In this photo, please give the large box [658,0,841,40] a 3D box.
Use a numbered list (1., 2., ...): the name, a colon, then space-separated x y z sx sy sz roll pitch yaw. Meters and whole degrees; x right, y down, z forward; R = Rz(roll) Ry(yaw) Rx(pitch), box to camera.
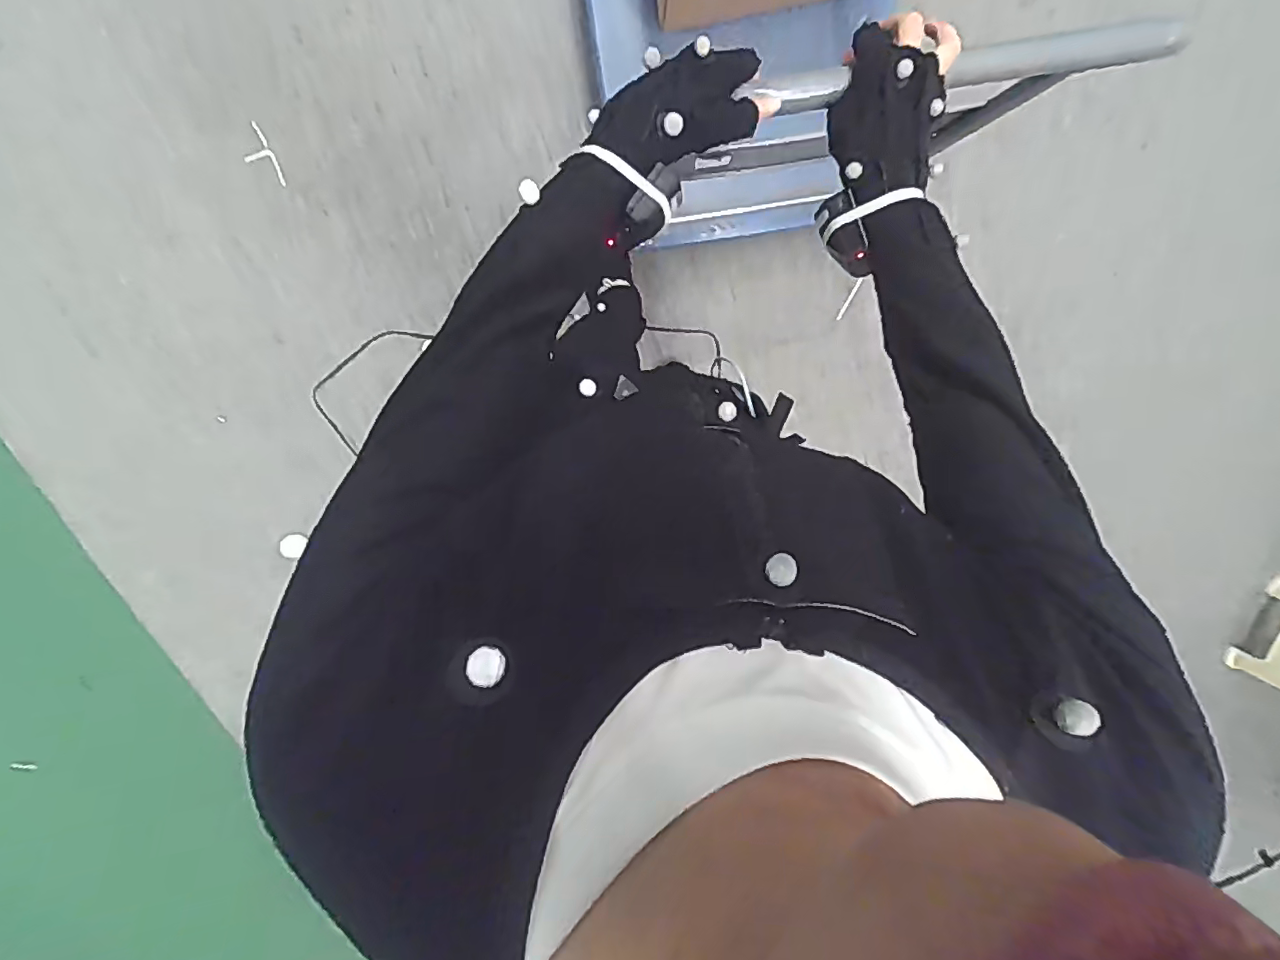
1. large box: 0.217 -0.966 0.839 0.408 0.320 0.320 -11 109 2
